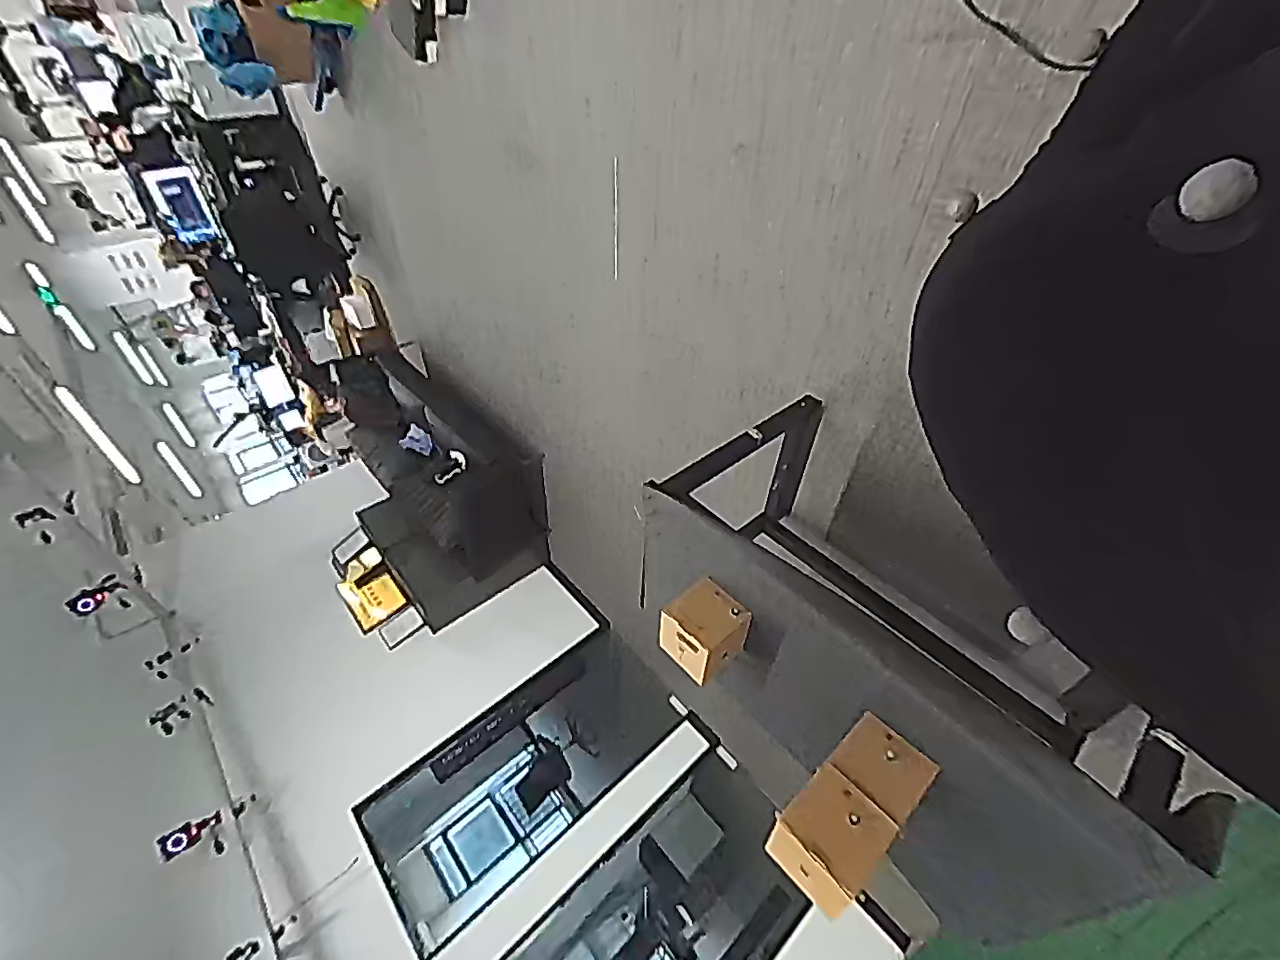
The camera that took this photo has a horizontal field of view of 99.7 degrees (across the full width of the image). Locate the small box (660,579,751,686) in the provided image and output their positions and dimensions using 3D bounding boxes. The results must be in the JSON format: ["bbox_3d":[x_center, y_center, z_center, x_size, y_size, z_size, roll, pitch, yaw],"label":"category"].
[{"bbox_3d":[0.173,0.397,1.430,0.168,0.176,0.179,38,144,33],"label":"small box"}]

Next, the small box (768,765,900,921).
[{"bbox_3d":[0.381,0.712,1.070,0.168,0.176,0.179,36,142,35],"label":"small box"}]

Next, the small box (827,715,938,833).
[{"bbox_3d":[0.503,0.648,1.156,0.168,0.176,0.179,35,141,35],"label":"small box"}]
